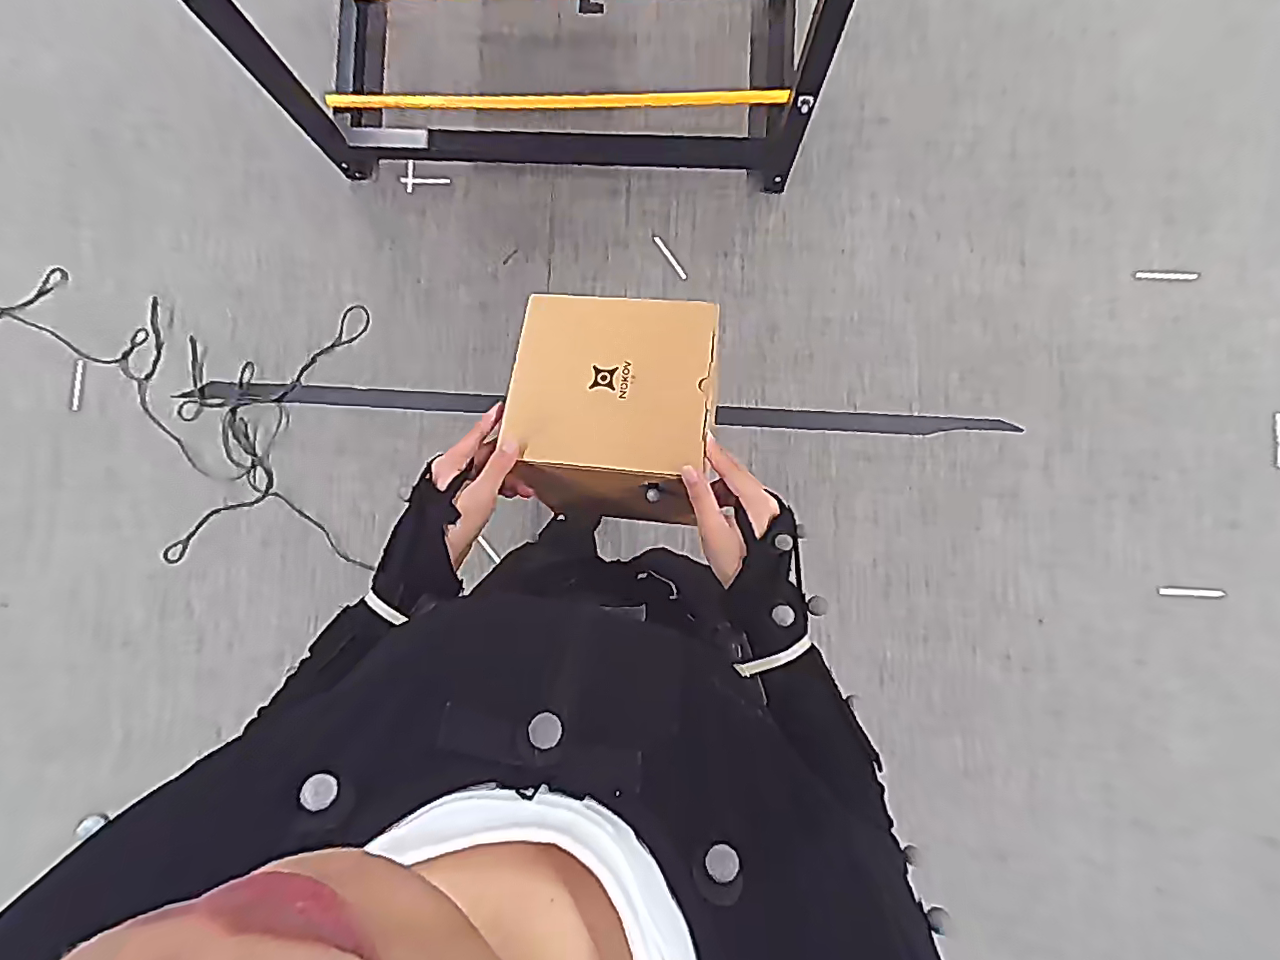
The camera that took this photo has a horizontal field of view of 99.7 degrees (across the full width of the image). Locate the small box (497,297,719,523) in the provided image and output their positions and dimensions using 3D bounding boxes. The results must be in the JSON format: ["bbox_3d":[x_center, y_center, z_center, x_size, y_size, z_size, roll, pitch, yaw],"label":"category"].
[{"bbox_3d":[-0.017,-0.060,0.541,0.179,0.176,0.168,5,72,8],"label":"small box"}]
